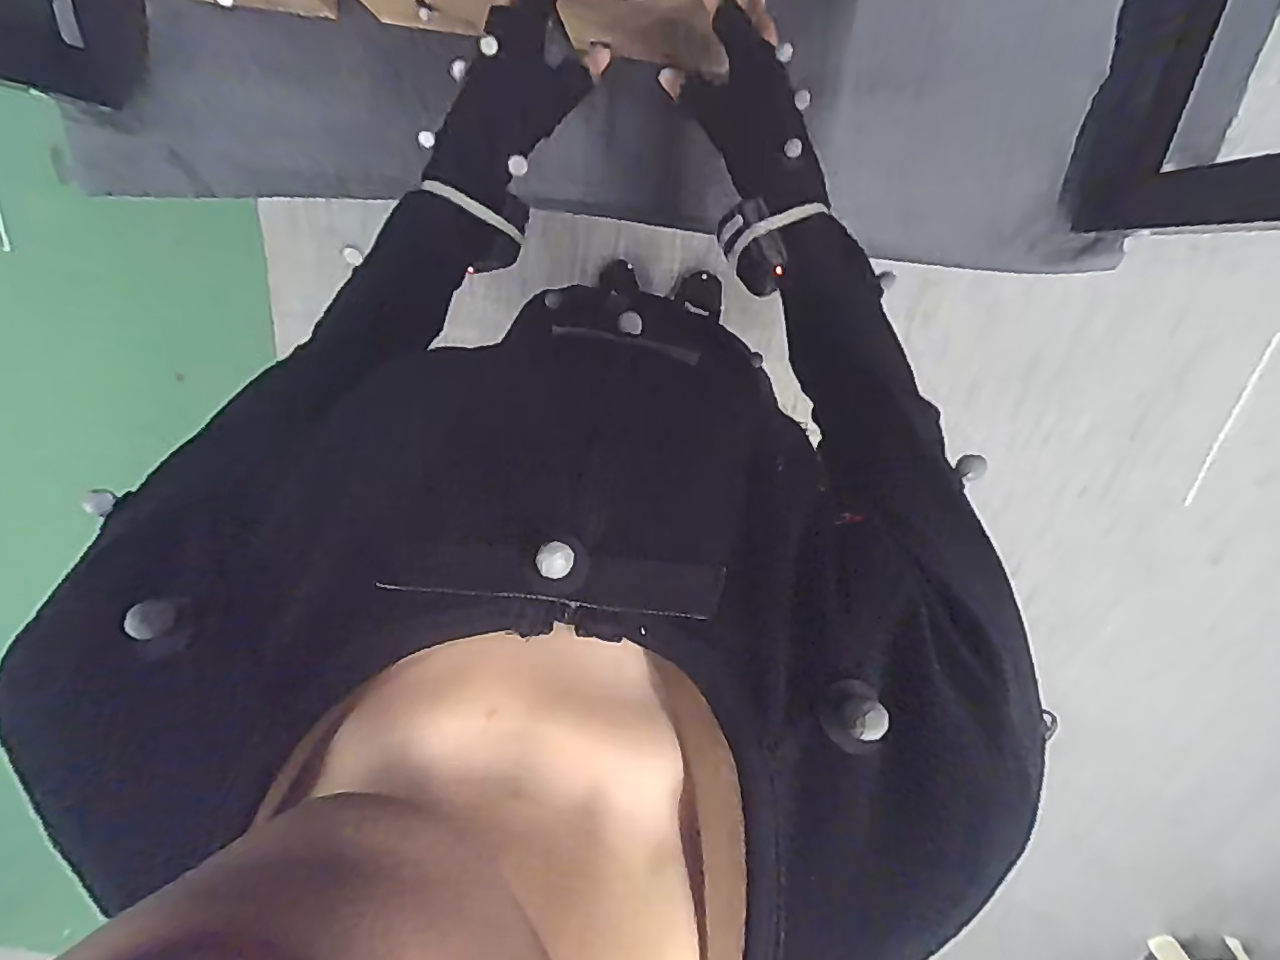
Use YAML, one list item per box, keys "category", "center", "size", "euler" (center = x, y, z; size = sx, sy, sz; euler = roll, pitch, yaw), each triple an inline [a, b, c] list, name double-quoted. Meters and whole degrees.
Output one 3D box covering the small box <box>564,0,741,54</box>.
- category: "small box"
  center: [0.019, -0.498, 0.457]
  size: [0.168, 0.176, 0.179]
  euler: [8, 111, -1]
